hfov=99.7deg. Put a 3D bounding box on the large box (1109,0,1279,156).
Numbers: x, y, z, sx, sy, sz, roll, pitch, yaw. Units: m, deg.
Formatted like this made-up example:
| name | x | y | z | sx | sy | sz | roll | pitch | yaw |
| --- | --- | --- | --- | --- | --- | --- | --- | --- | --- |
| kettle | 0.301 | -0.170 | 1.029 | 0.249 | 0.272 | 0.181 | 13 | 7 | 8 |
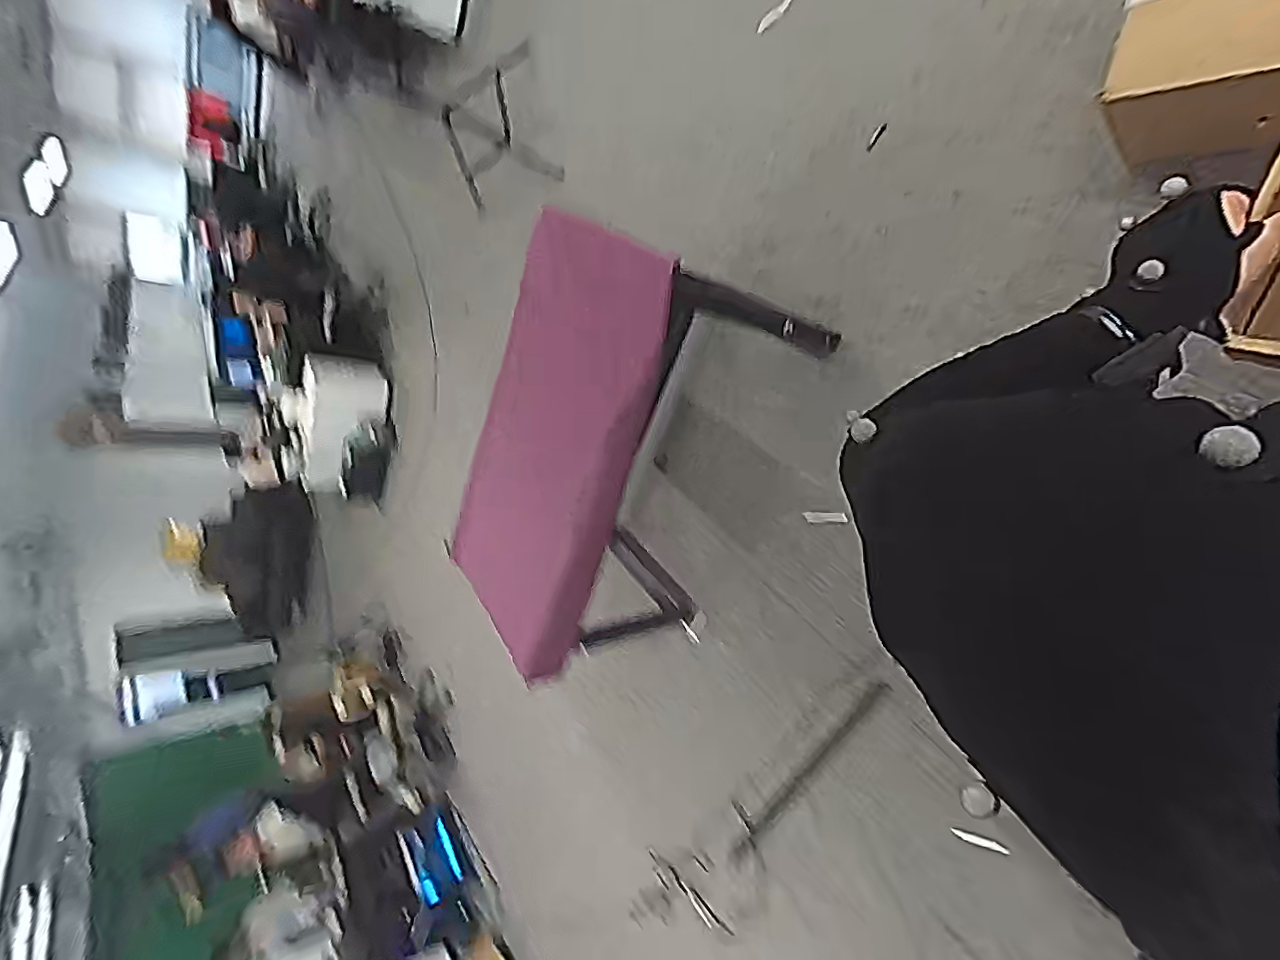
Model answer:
| name | x | y | z | sx | sy | sz | roll | pitch | yaw |
| --- | --- | --- | --- | --- | --- | --- | --- | --- | --- |
| large box | 1.074 | -0.761 | 0.856 | 0.408 | 0.320 | 0.320 | 23 | 108 | 47 |
